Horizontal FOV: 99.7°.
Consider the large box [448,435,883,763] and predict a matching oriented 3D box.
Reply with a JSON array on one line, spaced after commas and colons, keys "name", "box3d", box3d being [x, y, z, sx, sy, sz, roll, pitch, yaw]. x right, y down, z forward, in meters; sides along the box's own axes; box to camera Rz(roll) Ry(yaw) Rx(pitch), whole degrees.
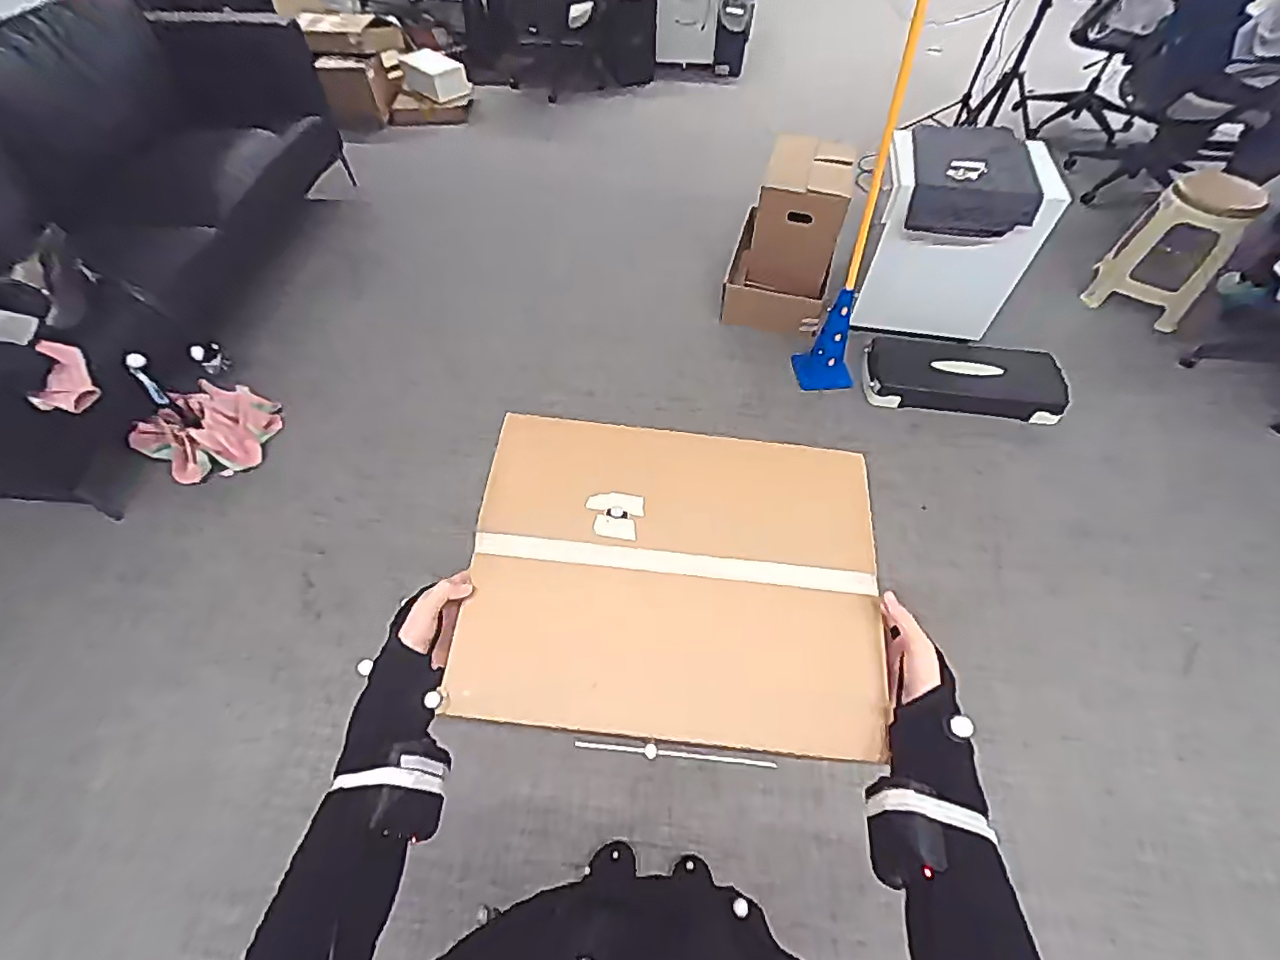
[{"name": "large box", "box3d": [0.032, 0.166, 0.685, 0.408, 0.320, 0.320, 6, 62, 1]}]
